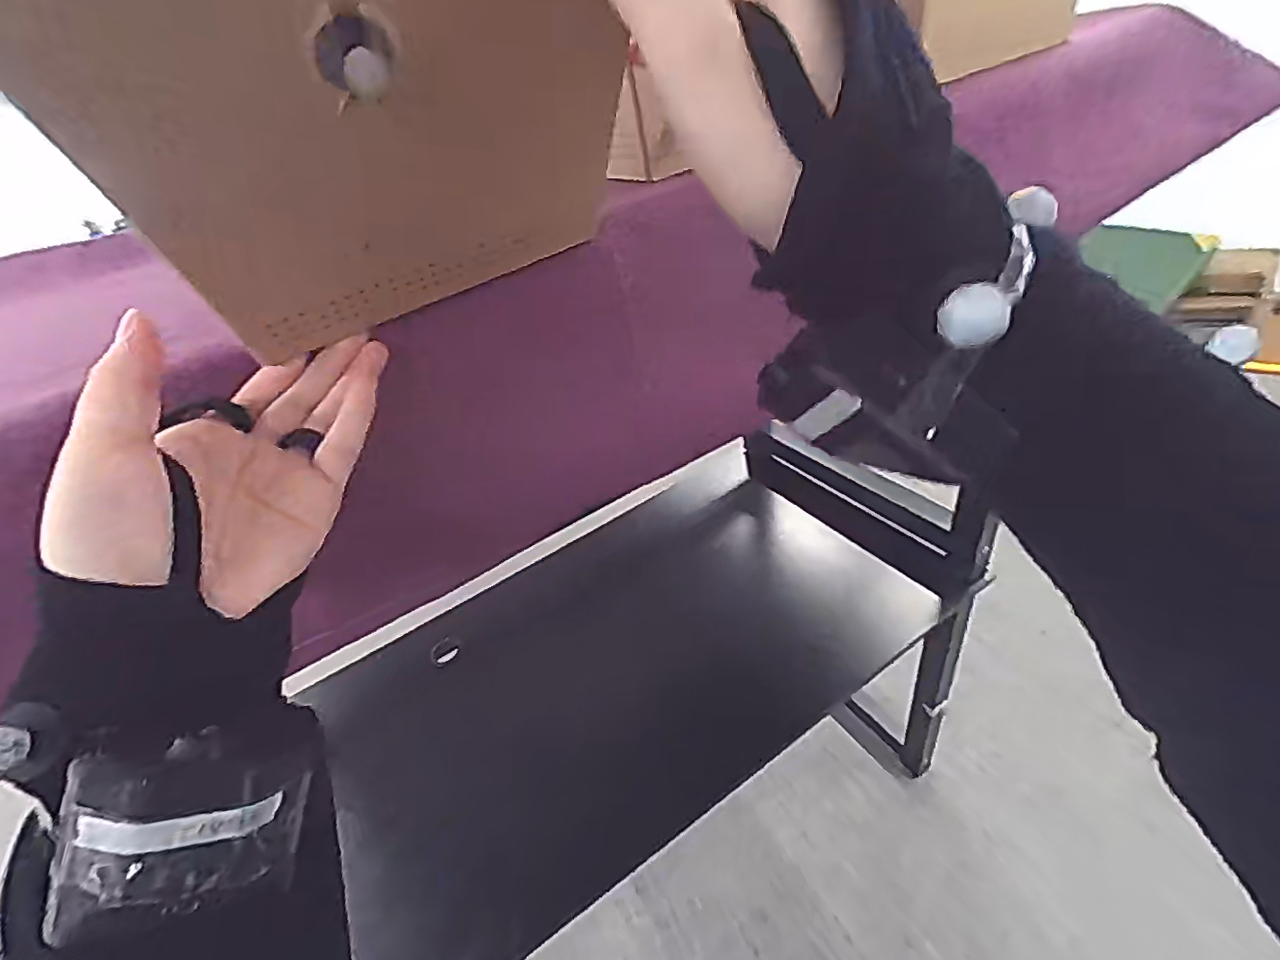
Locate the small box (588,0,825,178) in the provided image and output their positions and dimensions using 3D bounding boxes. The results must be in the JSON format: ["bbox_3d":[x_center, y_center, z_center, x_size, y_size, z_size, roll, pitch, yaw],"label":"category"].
[{"bbox_3d":[0.014,-0.328,0.385,0.168,0.176,0.179,-28,38,-18],"label":"small box"}]

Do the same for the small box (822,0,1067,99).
[{"bbox_3d":[0.234,-0.432,0.446,0.179,0.176,0.168,-26,37,-14],"label":"small box"}]

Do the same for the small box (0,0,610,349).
[{"bbox_3d":[-0.119,-0.175,0.191,0.179,0.176,0.168,-30,84,-18],"label":"small box"}]
